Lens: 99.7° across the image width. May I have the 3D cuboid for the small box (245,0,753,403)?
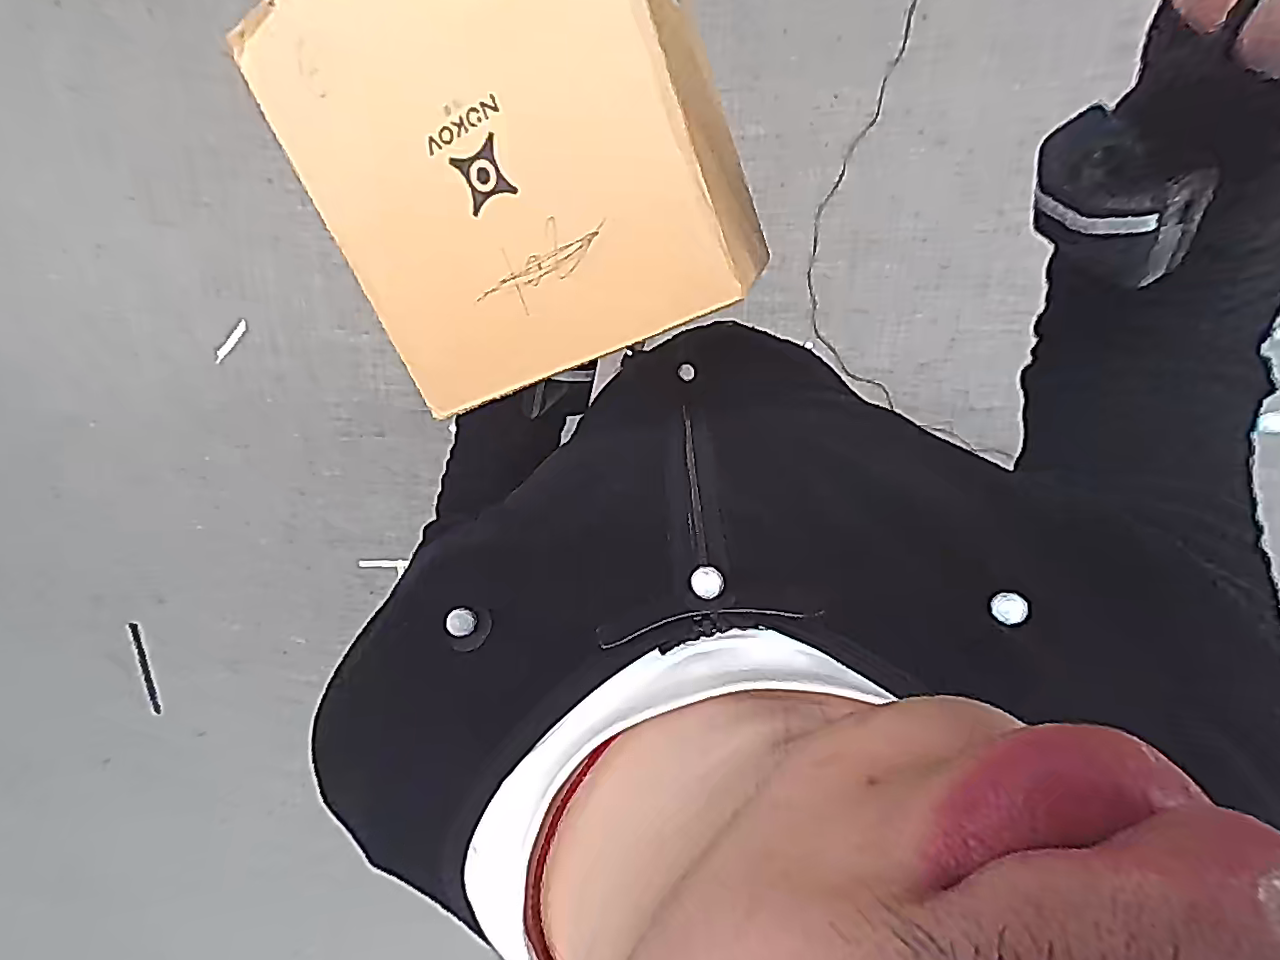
[{"bbox_3d":[-0.045,-0.167,0.295,0.168,0.176,0.179,-15,112,23],"label":"small box"}]
